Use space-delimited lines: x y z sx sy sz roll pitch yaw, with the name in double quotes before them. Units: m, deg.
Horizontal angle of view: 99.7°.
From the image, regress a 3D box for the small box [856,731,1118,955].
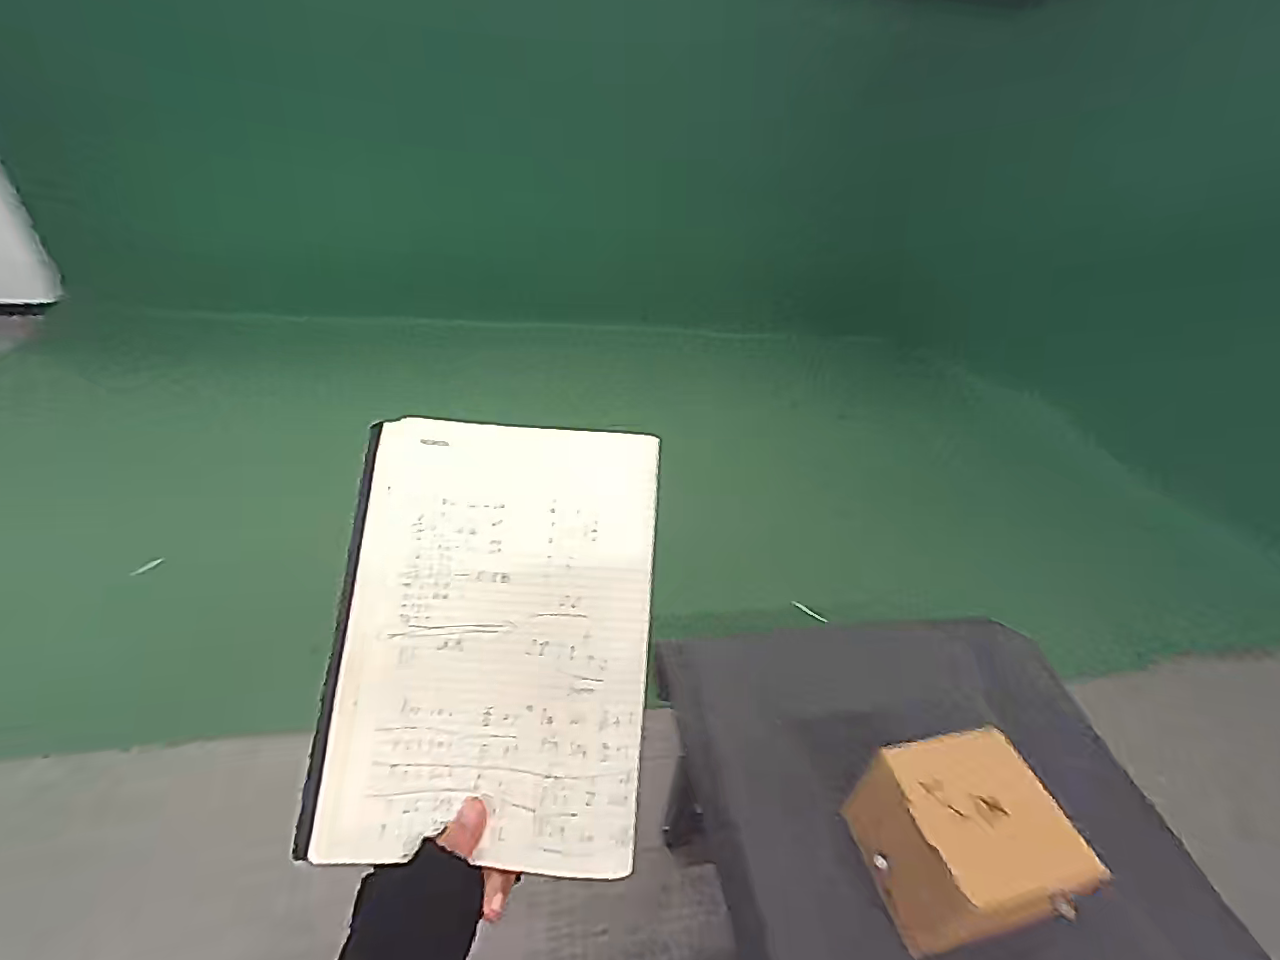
"small box" 0.401 0.439 0.661 0.179 0.176 0.168 -4 36 -12
